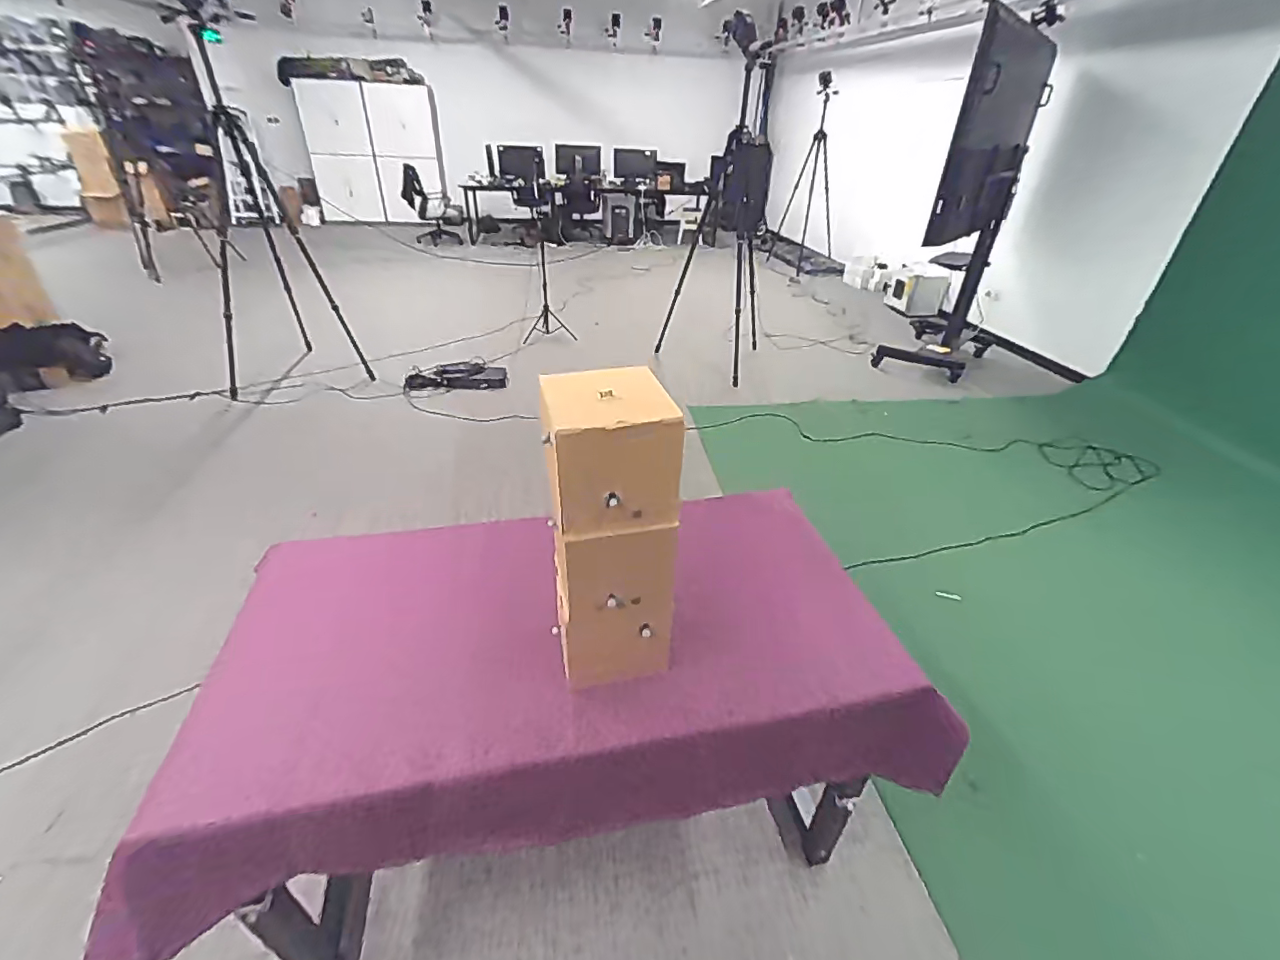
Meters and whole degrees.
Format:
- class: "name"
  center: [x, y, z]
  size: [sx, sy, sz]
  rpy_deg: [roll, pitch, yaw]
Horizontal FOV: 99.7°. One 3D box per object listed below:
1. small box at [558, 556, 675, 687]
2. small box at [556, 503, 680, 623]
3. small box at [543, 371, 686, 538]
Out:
- class: "small box"
  center: [-0.047, 0.235, 0.946]
  size: [0.179, 0.176, 0.168]
  rpy_deg: [-6, 34, -11]
- class: "small box"
  center: [-0.044, 0.097, 0.858]
  size: [0.168, 0.176, 0.179]
  rpy_deg: [-7, 35, -12]
- class: "small box"
  center: [-0.044, -0.041, 0.773]
  size: [0.168, 0.176, 0.179]
  rpy_deg: [-8, 36, -14]
